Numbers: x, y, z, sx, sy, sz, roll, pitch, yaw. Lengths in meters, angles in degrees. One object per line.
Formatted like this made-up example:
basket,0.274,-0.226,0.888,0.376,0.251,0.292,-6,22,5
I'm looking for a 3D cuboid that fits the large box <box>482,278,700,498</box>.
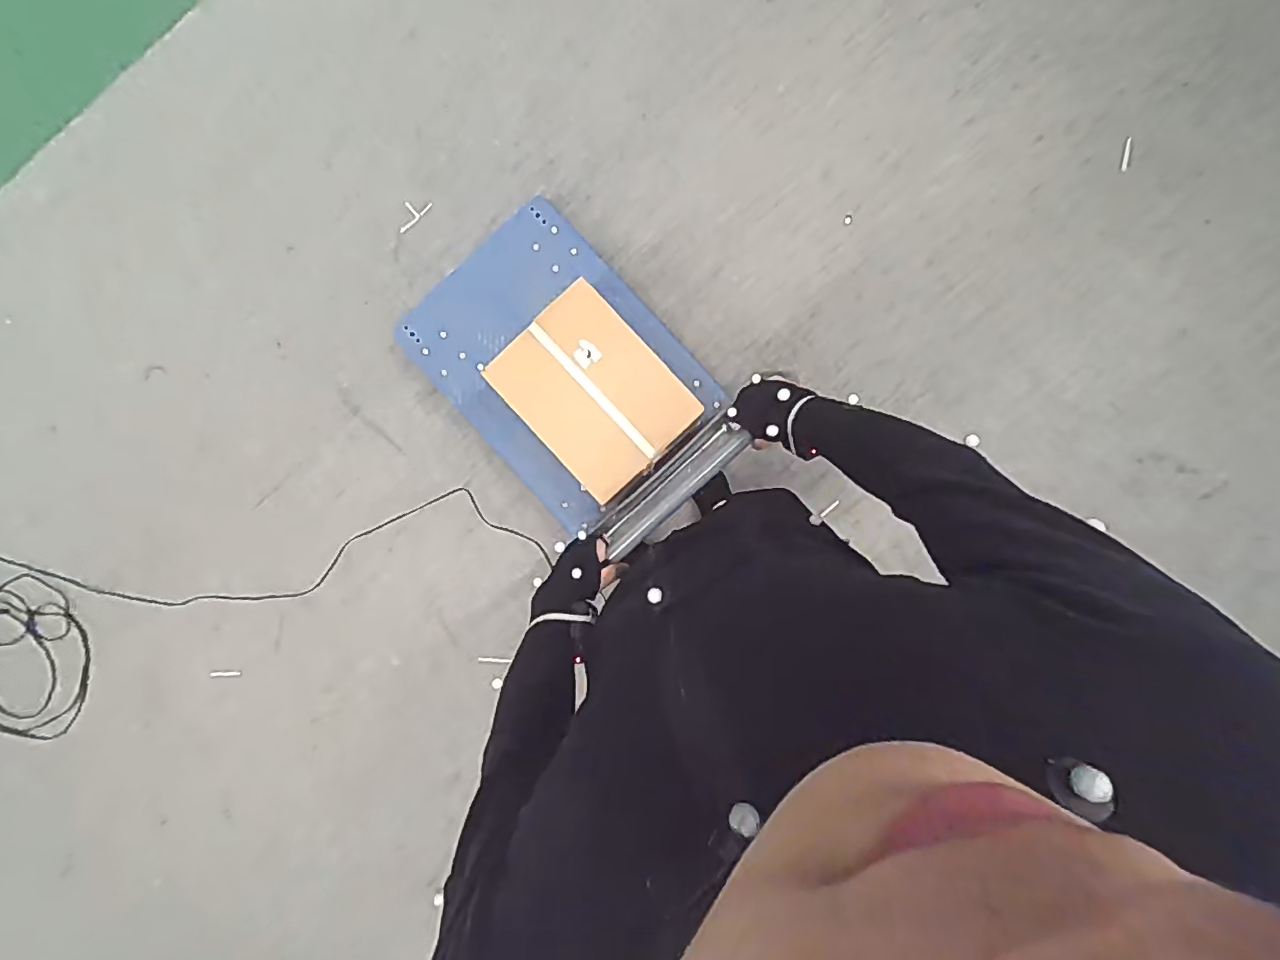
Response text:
large box,-0.099,-0.203,1.340,0.320,0.320,0.408,-43,87,1
